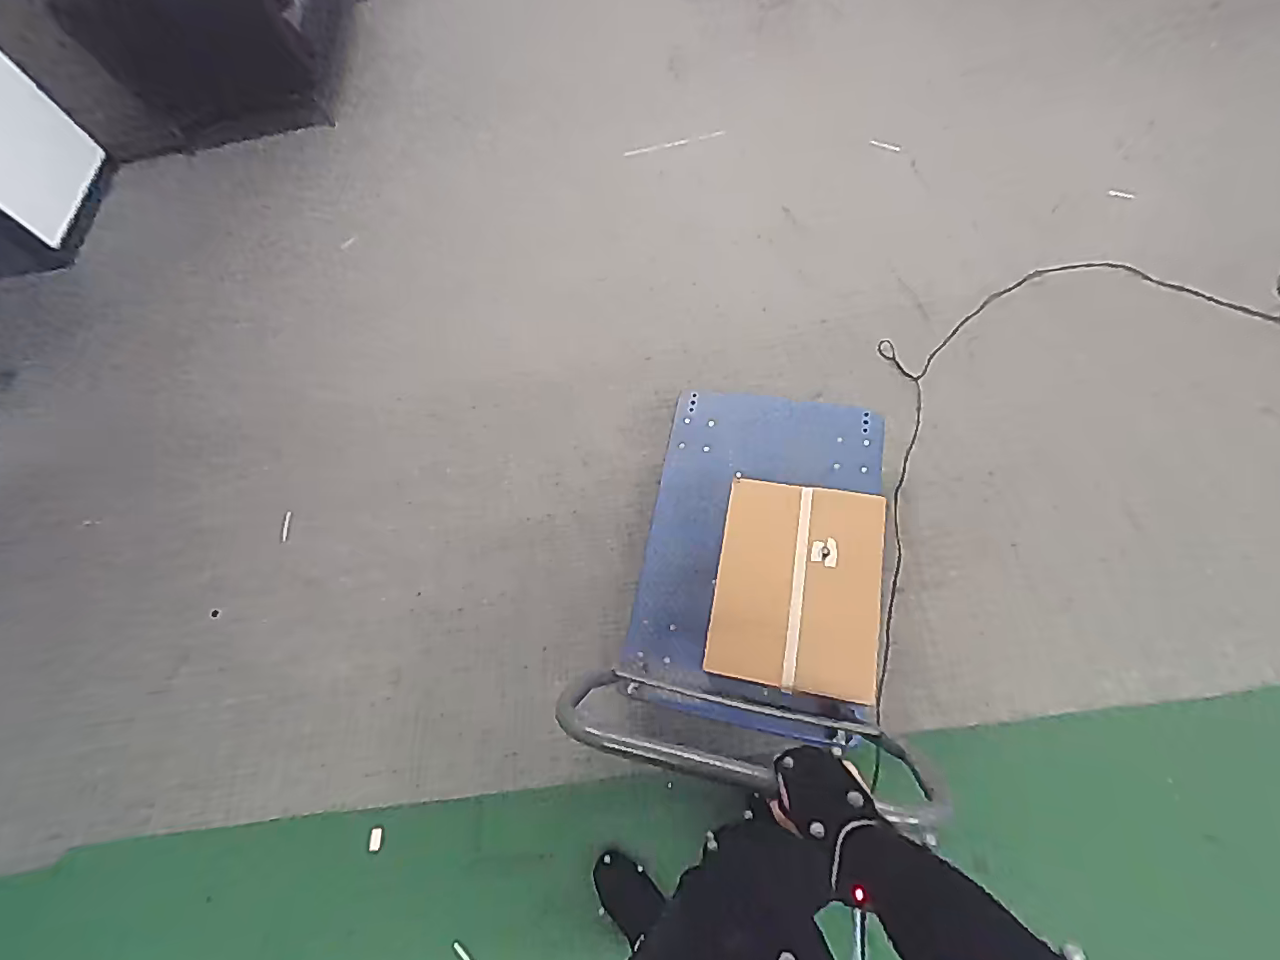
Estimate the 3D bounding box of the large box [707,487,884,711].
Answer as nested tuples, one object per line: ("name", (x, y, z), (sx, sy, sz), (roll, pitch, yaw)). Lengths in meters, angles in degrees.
("large box", (0.336, 0.272, 1.207), (0.320, 0.320, 0.408), (9, 70, 12))
